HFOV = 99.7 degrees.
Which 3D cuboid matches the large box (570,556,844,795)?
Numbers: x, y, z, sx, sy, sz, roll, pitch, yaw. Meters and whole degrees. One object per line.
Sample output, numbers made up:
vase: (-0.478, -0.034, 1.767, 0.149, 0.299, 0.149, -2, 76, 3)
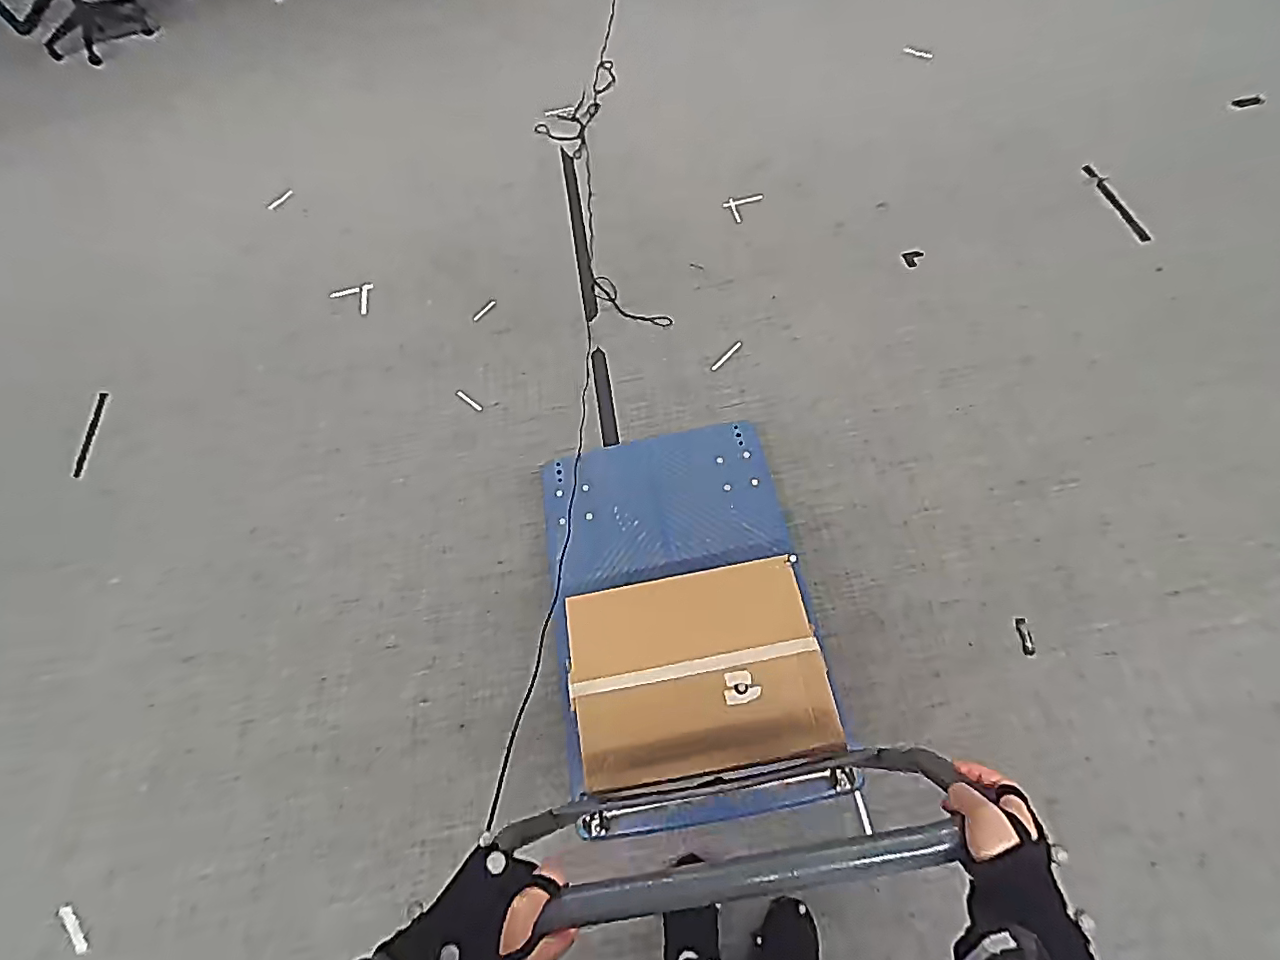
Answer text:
large box: (0.109, 0.377, 1.026, 0.408, 0.320, 0.320, -12, 63, 1)
